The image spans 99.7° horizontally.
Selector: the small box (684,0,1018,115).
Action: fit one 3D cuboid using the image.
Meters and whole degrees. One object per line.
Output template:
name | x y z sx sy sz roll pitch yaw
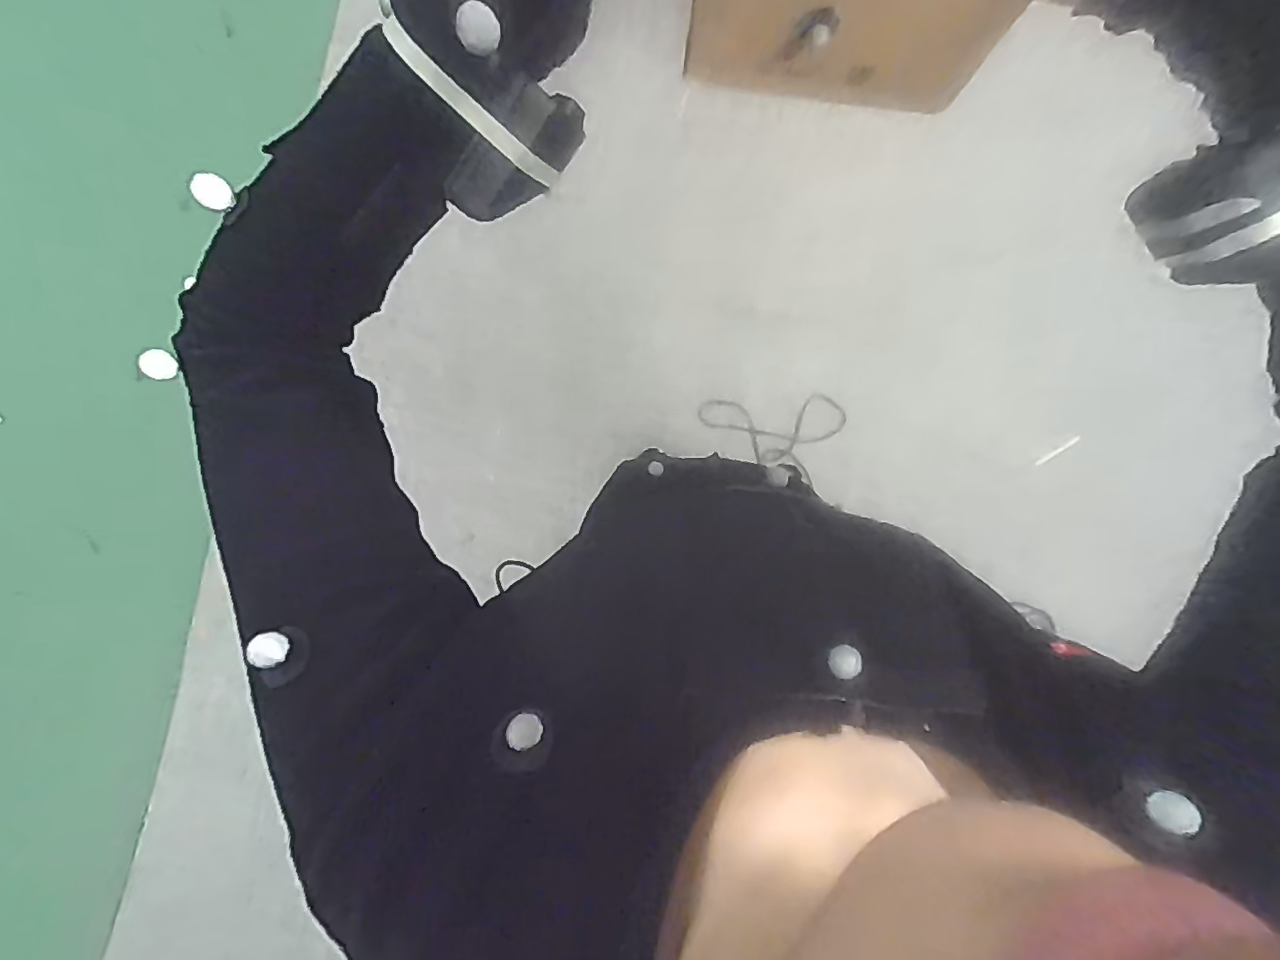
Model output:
small box | 0.115 -0.327 0.264 0.168 0.176 0.179 6 89 0
